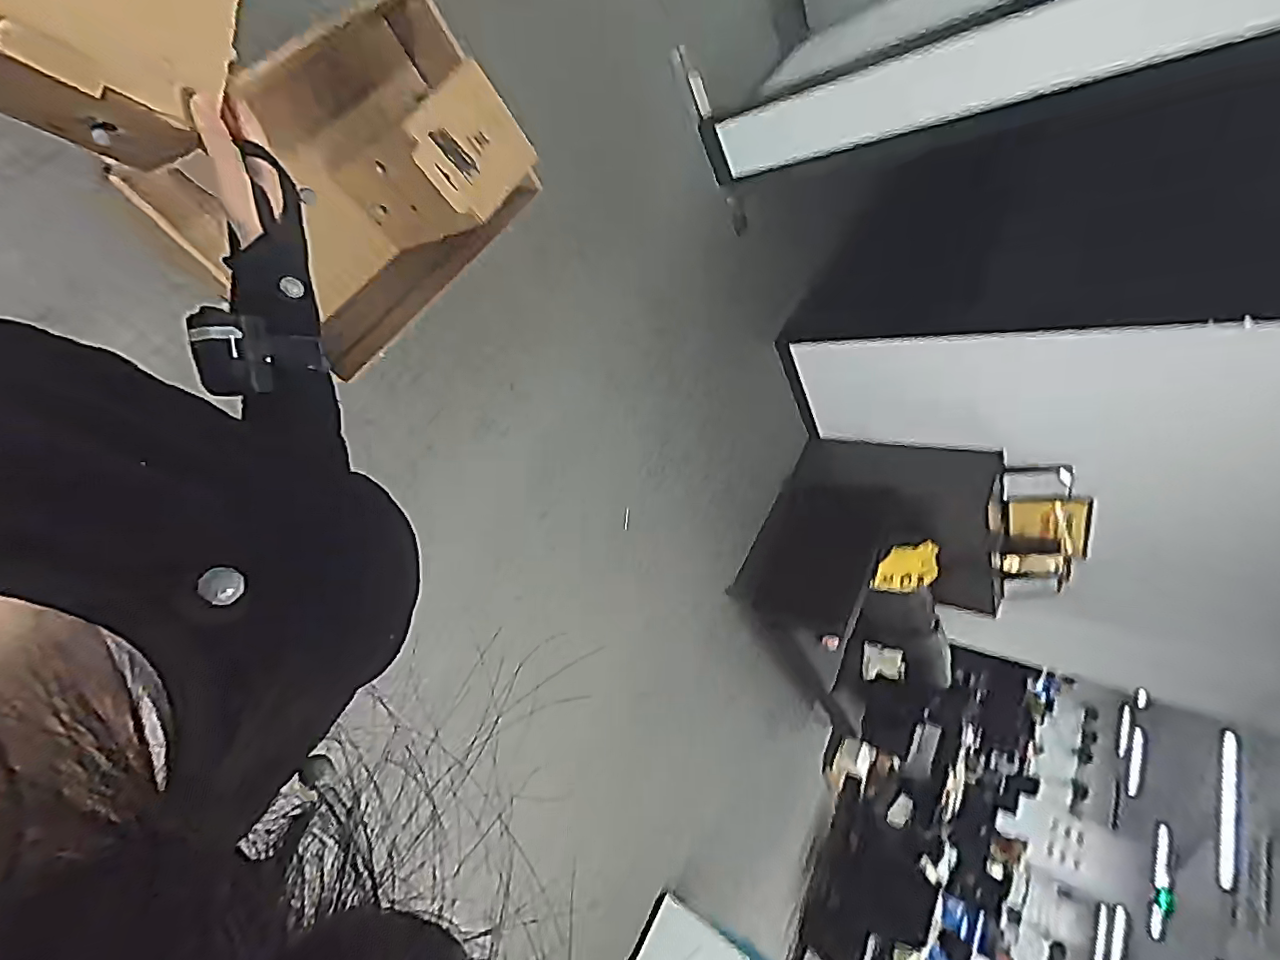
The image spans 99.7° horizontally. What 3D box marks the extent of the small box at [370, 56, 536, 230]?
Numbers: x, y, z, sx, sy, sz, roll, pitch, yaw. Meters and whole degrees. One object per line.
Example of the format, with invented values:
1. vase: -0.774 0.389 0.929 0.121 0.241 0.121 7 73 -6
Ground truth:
1. small box: -0.317 -0.546 0.901 0.168 0.176 0.179 49 63 -43
